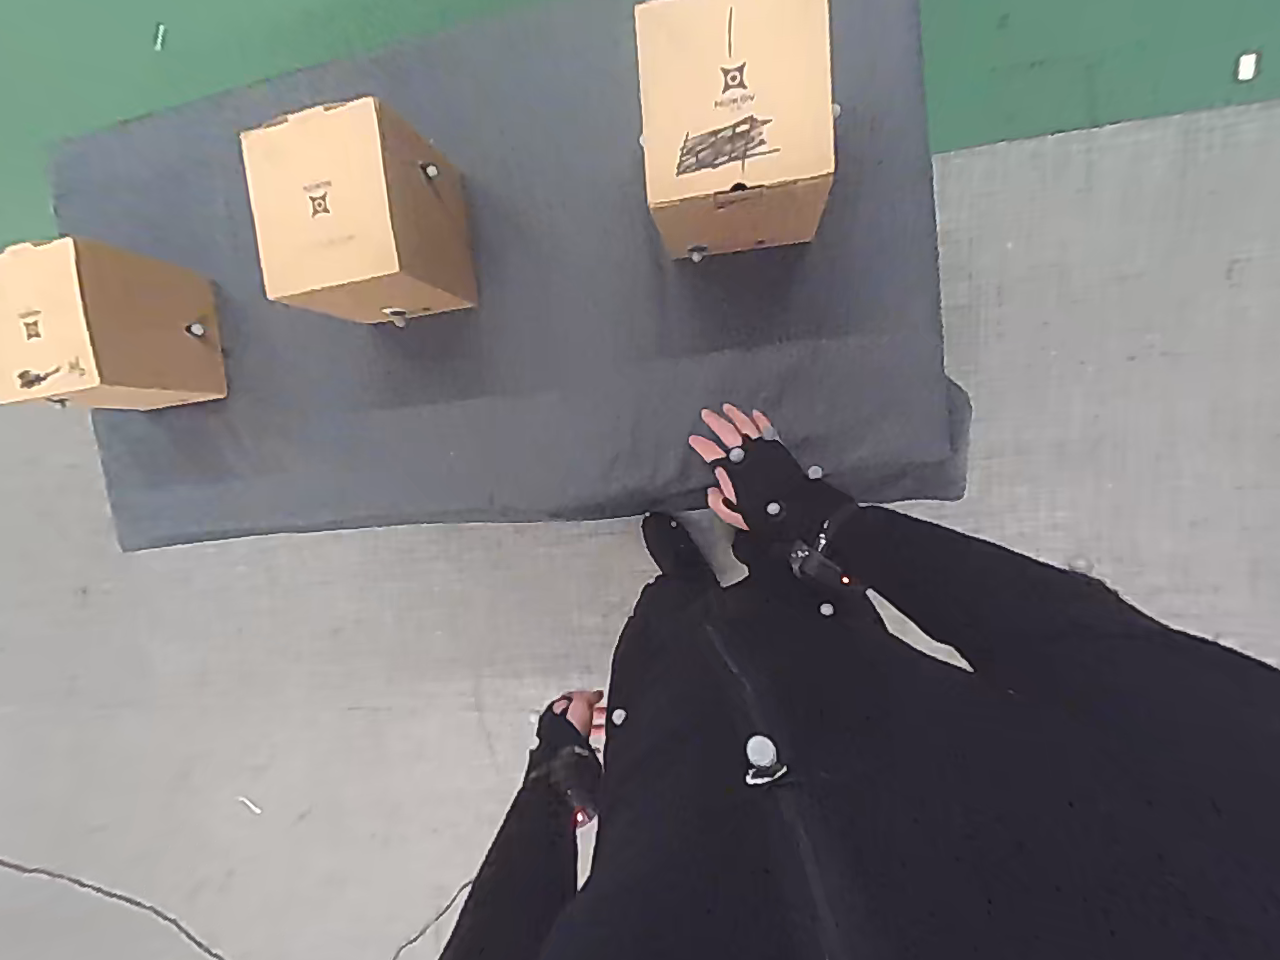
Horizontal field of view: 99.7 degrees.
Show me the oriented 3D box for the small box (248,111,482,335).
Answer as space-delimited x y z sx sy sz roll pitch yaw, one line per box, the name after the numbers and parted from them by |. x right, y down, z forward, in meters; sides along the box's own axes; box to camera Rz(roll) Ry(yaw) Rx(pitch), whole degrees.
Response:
-0.308 -0.284 0.639 0.168 0.176 0.179 -7 95 13 | small box

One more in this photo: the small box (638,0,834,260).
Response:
0.099 -0.339 0.551 0.168 0.176 0.179 -4 94 11 | small box

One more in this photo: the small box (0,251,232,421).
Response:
-0.694 -0.177 0.721 0.168 0.176 0.179 -6 93 12 | small box
